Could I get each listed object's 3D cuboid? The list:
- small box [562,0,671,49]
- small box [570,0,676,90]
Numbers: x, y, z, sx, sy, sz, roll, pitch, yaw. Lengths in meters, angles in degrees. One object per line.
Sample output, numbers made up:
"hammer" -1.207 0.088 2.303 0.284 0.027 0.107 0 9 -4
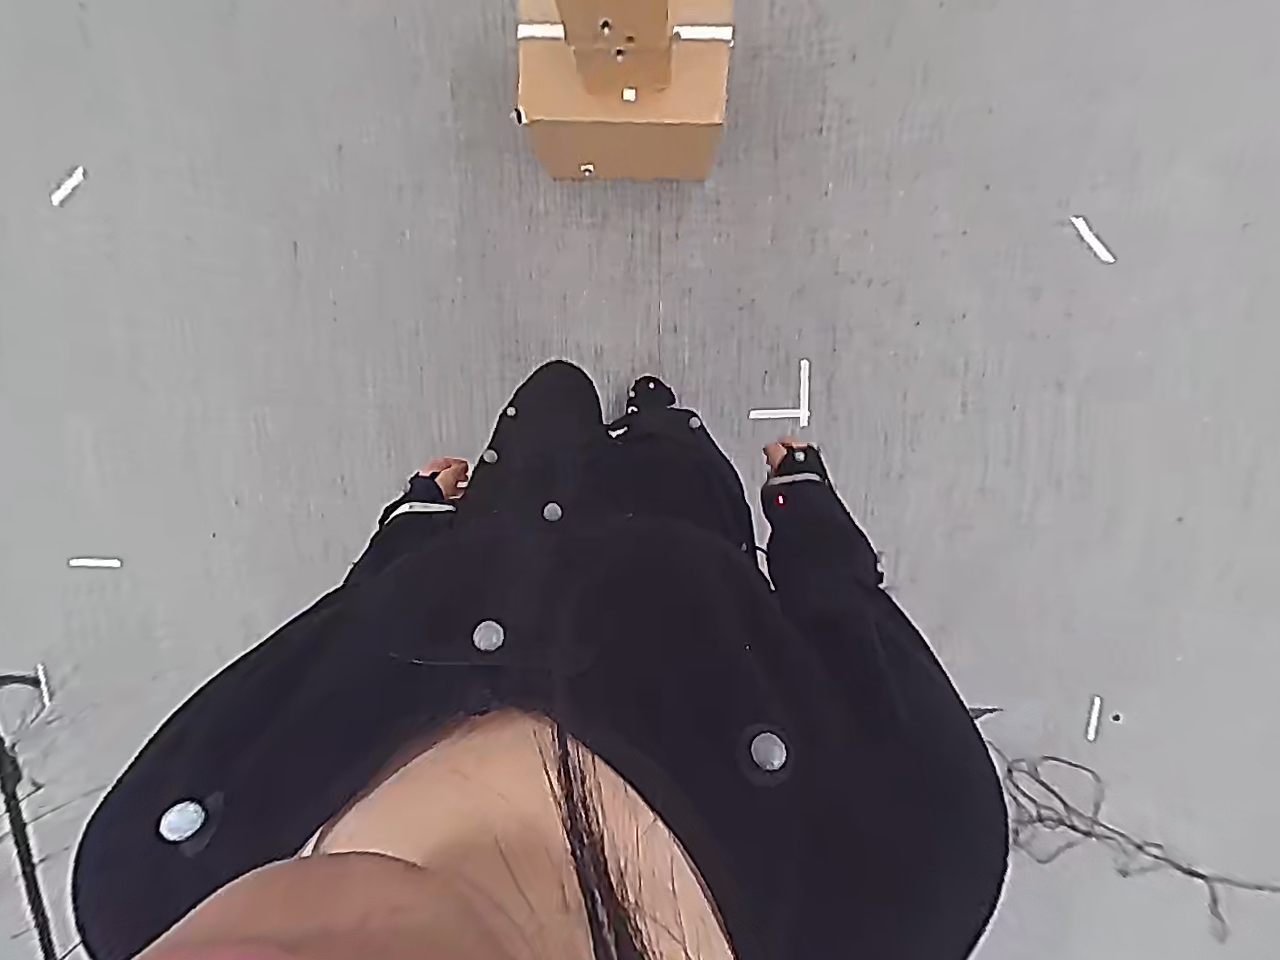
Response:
"small box" -0.035 -0.780 0.793 0.168 0.176 0.179 1 102 2
"small box" -0.027 -0.818 0.951 0.179 0.176 0.168 0 101 0
